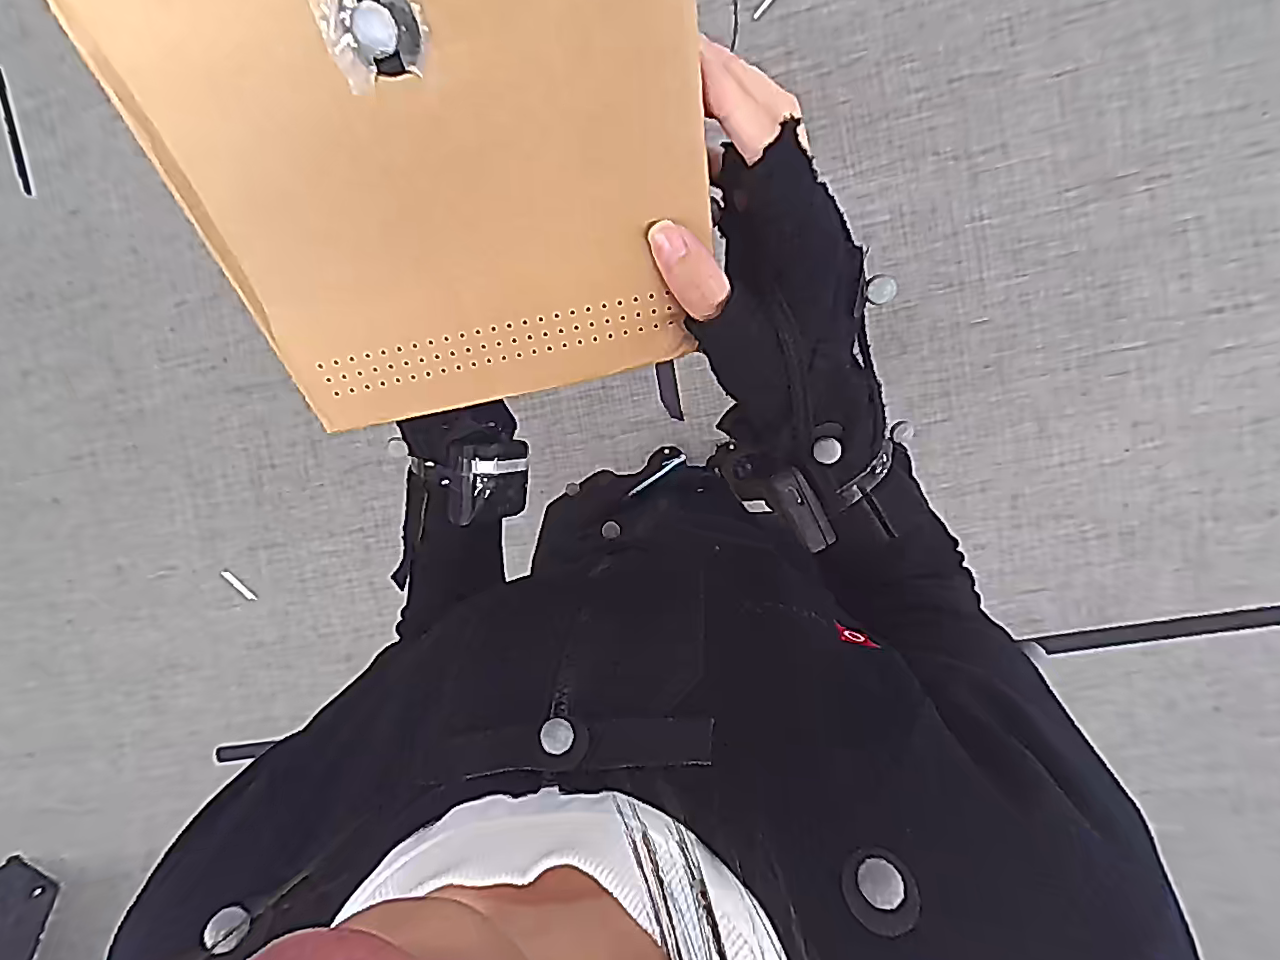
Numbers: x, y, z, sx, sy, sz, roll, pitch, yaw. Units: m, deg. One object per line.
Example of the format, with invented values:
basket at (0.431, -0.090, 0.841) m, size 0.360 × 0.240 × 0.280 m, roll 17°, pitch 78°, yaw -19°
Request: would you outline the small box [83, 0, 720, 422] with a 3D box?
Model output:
small box at (-0.069, -0.145, 0.248) m, size 0.179 × 0.168 × 0.176 m, roll -11°, pitch 131°, yaw 1°
